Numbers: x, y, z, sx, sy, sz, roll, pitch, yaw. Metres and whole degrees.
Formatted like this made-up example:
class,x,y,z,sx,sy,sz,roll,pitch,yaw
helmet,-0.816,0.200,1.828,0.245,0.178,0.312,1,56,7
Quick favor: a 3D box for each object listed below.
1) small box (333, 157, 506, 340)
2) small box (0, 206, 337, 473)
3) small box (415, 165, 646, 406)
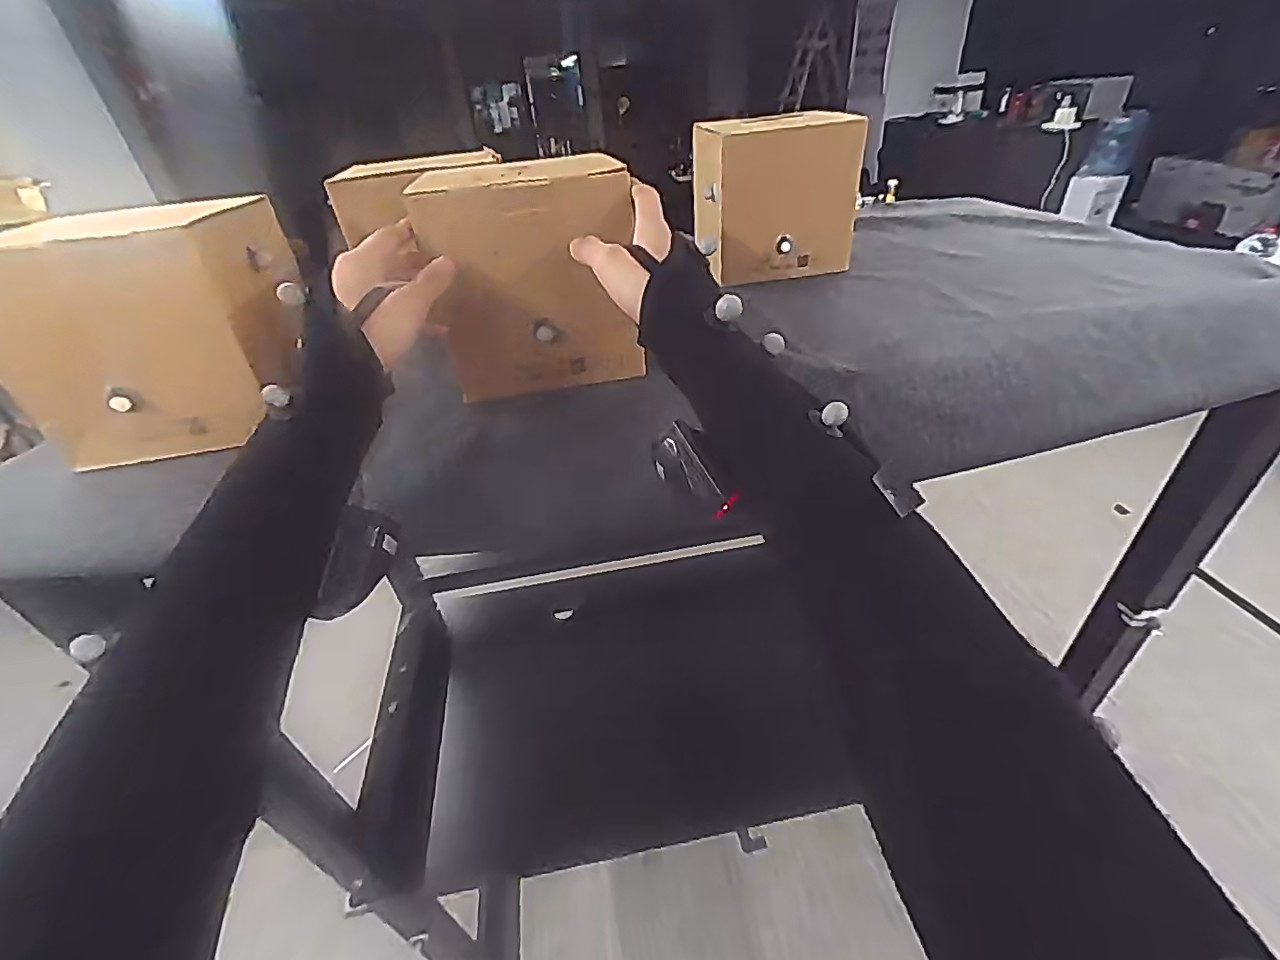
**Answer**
class,x,y,z,sx,sy,sz,roll,pitch,yaw
small box,-0.242,-0.290,0.674,0.179,0.176,0.168,-11,36,-8
small box,-0.391,-0.128,0.470,0.168,0.176,0.179,-11,35,-8
small box,-0.093,-0.188,0.510,0.168,0.176,0.179,-10,36,-7
